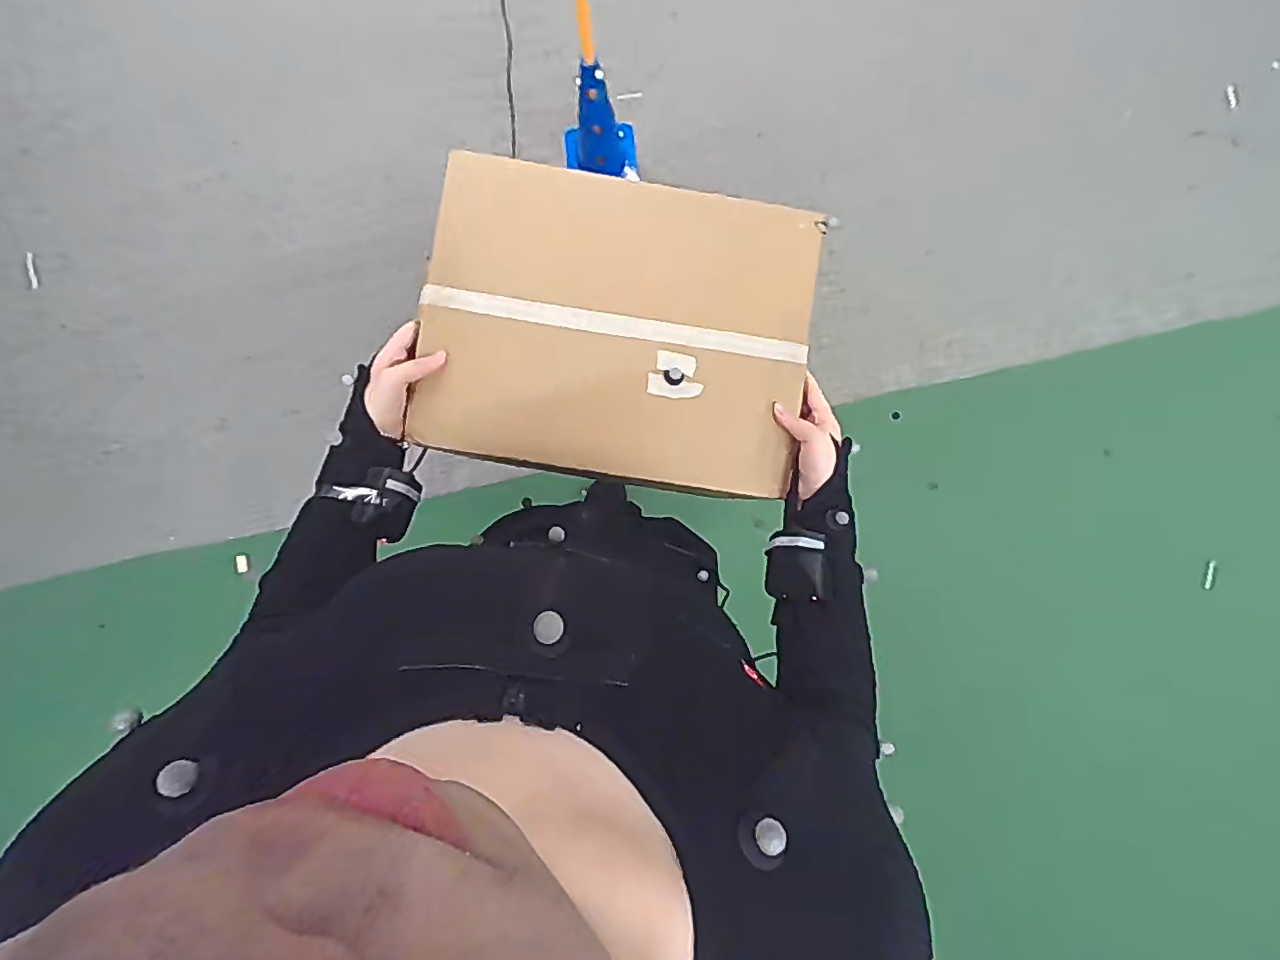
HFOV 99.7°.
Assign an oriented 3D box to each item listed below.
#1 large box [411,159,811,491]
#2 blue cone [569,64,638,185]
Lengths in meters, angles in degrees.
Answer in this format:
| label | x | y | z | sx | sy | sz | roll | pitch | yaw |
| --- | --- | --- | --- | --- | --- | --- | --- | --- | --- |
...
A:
| label | x | y | z | sx | sy | sz | roll | pitch | yaw |
| --- | --- | --- | --- | --- | --- | --- | --- | --- | --- |
| large box | -0.037 | -0.162 | 0.724 | 0.408 | 0.320 | 0.320 | 8 | 88 | -3 |
| blue cone | -0.106 | -0.908 | 1.377 | 0.193 | 0.380 | 0.192 | -4 | 89 | 0 |
